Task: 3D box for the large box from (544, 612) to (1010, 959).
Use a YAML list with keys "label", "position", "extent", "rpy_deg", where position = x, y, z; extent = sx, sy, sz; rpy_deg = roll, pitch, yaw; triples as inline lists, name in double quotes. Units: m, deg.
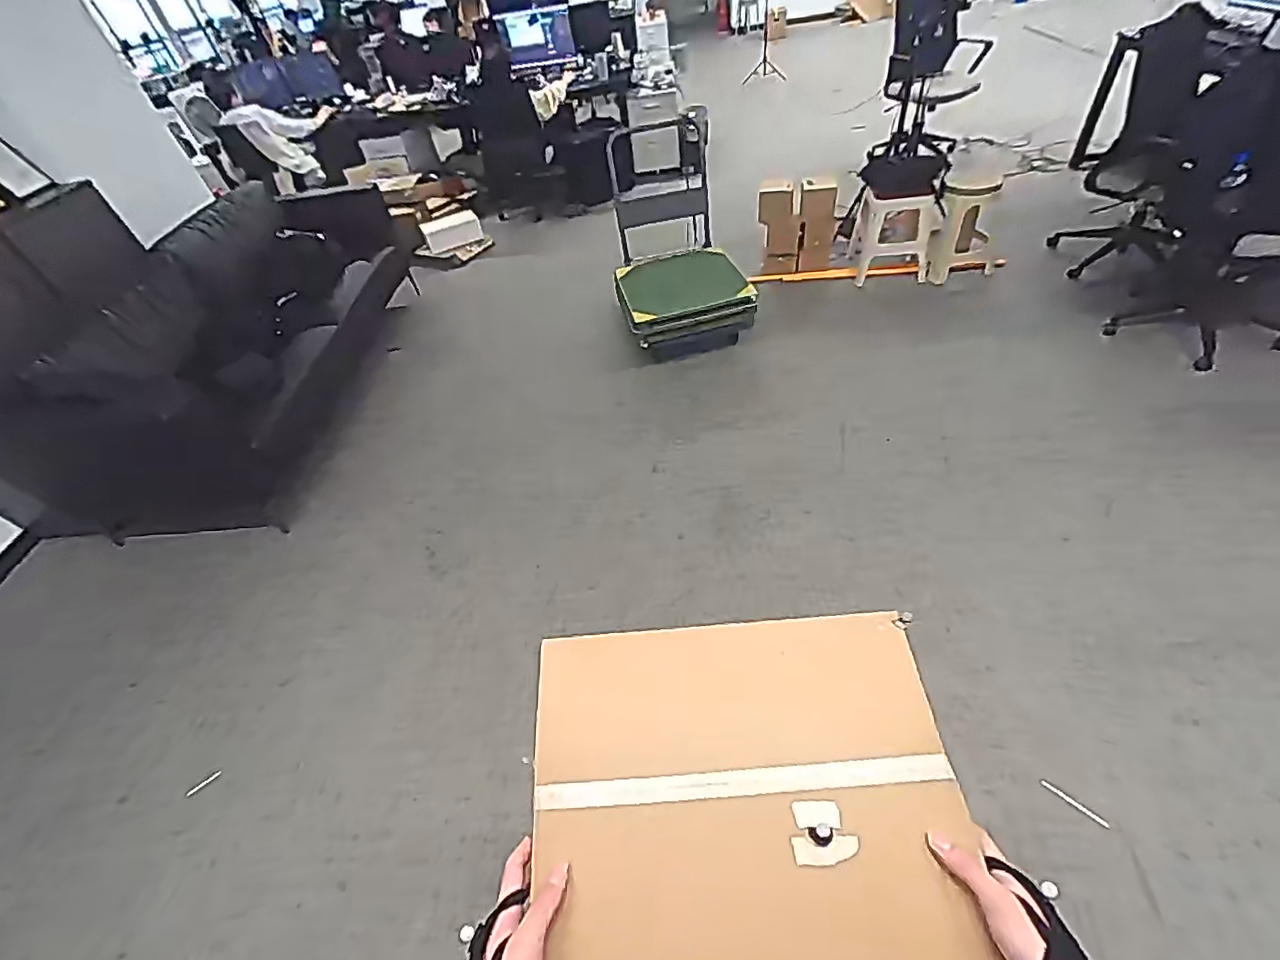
- label: "large box"
  position: [0.111, 0.380, 0.657]
  extent: [0.408, 0.320, 0.320]
  rpy_deg: [-6, 57, 1]
